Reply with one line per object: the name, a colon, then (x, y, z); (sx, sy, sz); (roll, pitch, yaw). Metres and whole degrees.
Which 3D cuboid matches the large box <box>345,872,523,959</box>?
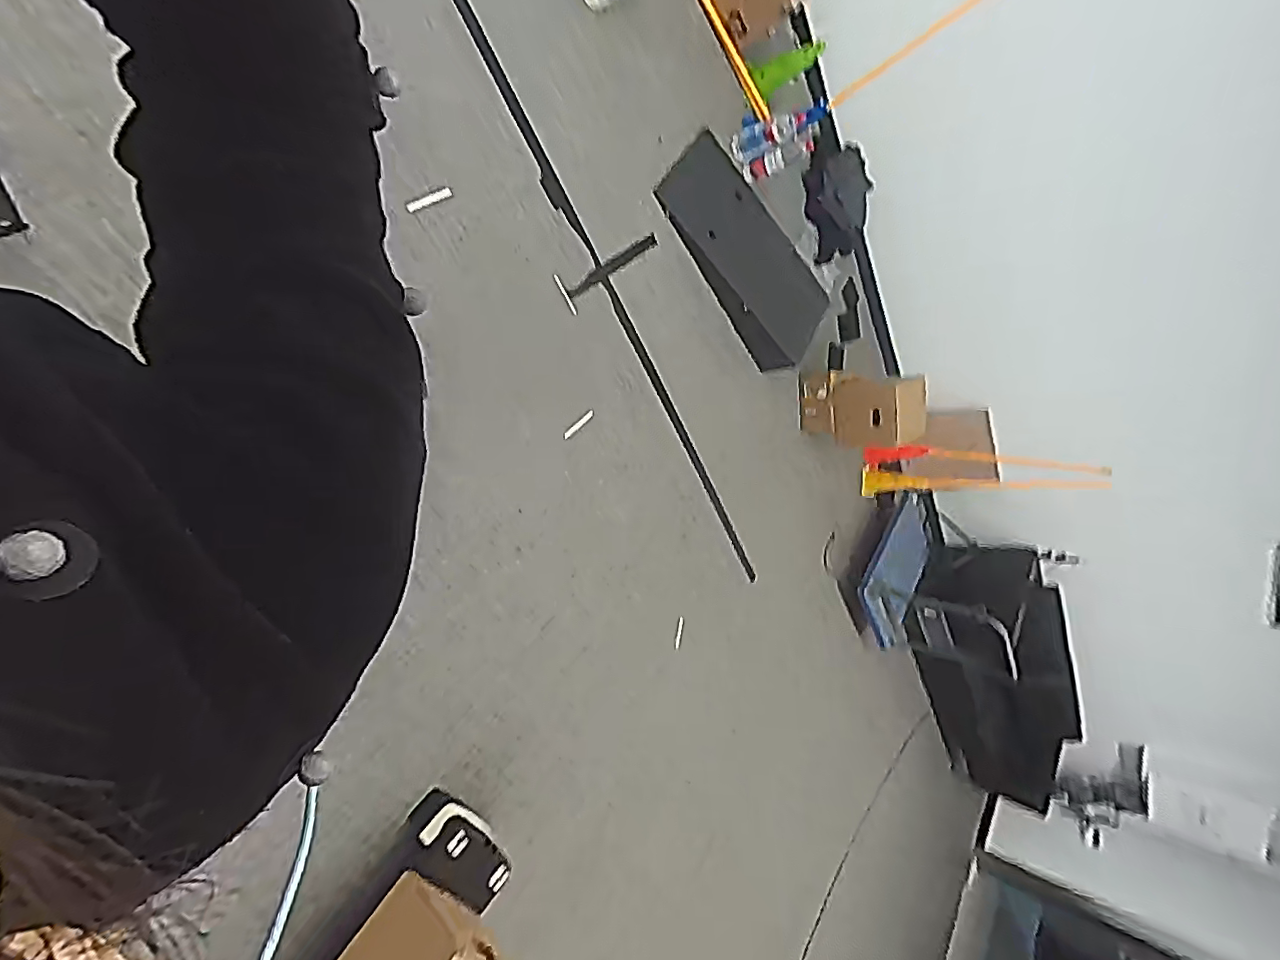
large box: (-0.508, 1.219, 1.213); (0.408, 0.320, 0.320); (-51, 124, -31)
